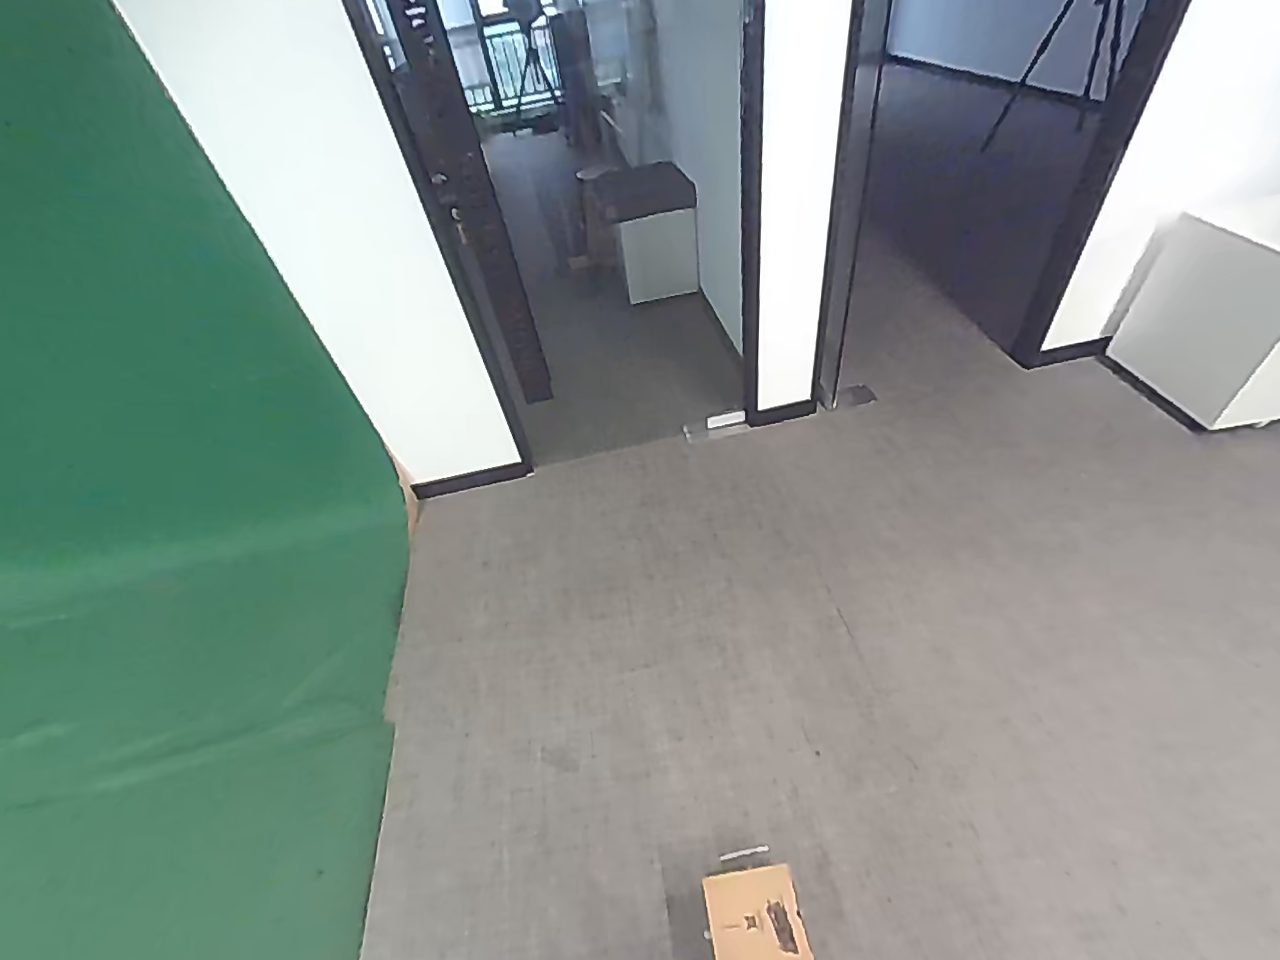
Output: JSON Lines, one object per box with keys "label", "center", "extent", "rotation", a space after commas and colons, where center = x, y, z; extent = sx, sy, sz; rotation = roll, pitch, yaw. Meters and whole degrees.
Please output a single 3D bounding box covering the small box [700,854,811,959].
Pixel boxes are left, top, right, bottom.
{"label": "small box", "center": [0.224, 0.874, 1.081], "extent": [0.179, 0.176, 0.168], "rotation": [-11, 44, 1]}
